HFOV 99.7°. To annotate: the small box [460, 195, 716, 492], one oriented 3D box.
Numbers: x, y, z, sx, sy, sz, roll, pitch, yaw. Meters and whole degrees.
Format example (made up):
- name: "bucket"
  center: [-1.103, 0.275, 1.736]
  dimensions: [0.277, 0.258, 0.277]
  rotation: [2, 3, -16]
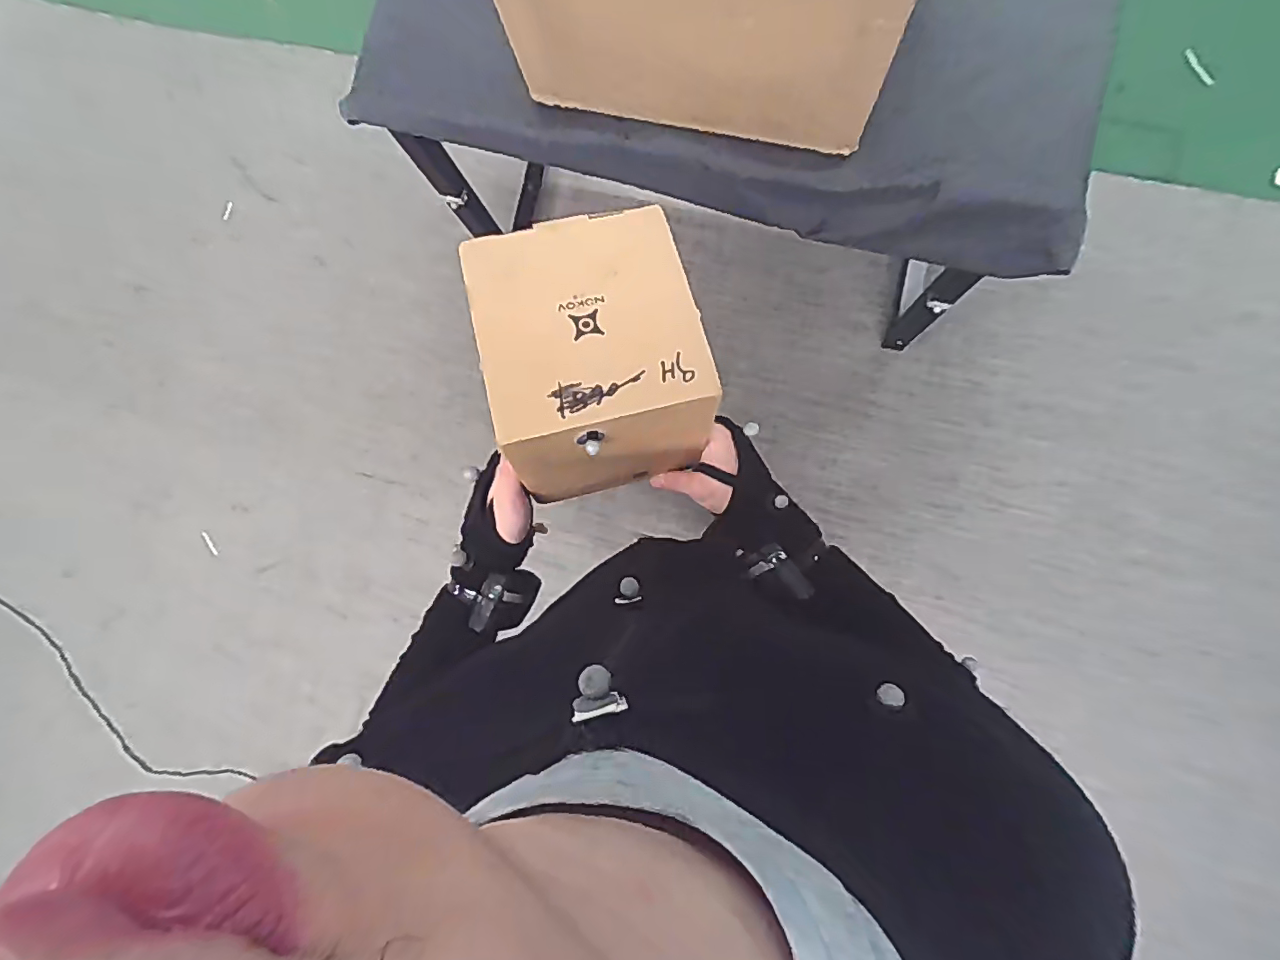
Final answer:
- name: "small box"
  center: [-0.043, -0.107, 0.480]
  dimensions: [0.168, 0.176, 0.179]
  rotation: [-14, 73, -3]
